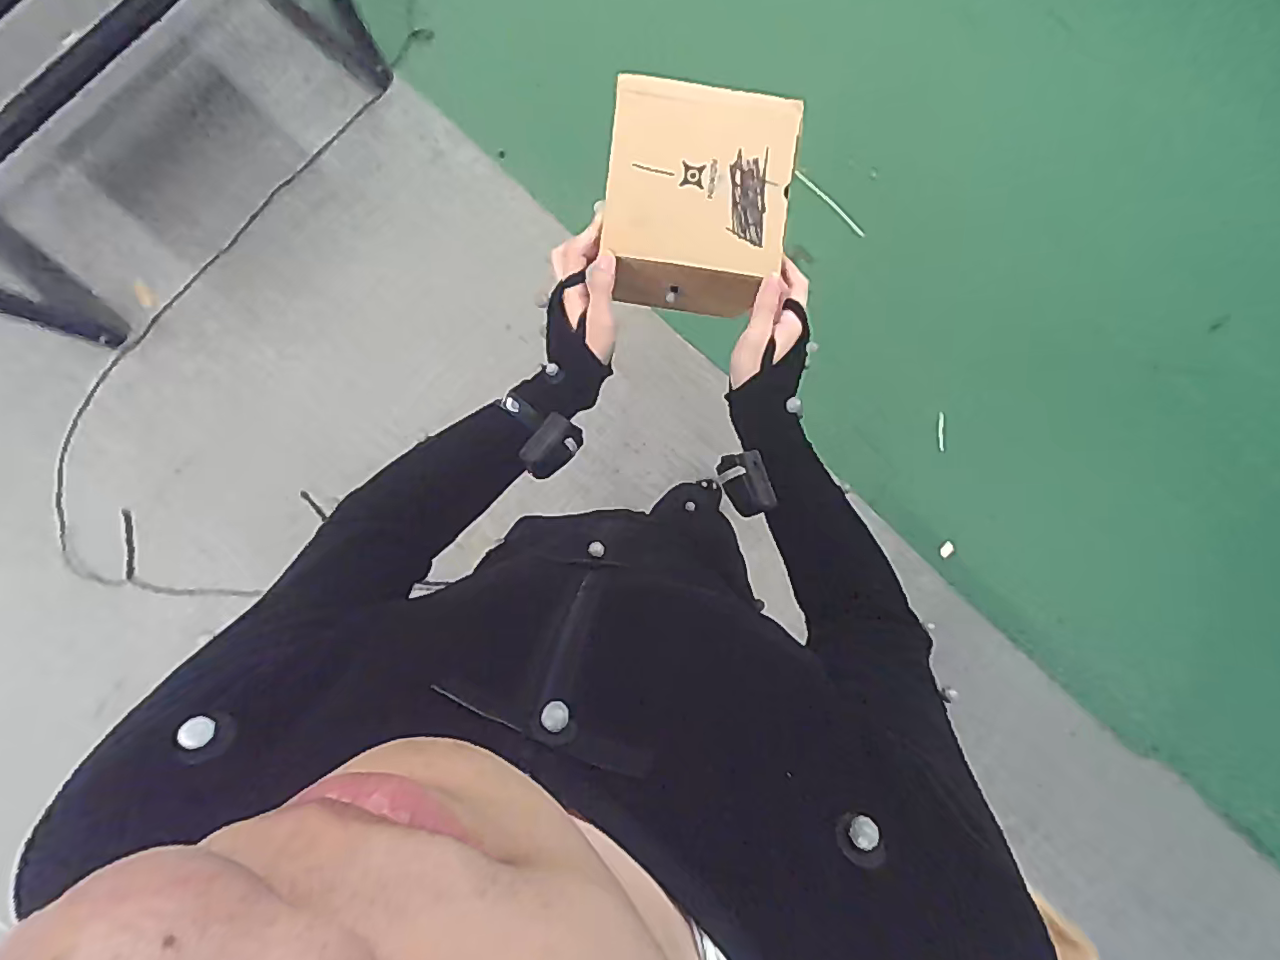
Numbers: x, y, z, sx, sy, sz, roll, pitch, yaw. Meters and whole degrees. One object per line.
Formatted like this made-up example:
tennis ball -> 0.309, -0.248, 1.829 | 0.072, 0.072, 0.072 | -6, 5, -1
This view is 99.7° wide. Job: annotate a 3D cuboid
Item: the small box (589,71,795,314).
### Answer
small box -> 0.044, -0.283, 0.575 | 0.179, 0.176, 0.168 | 6, 93, -3
